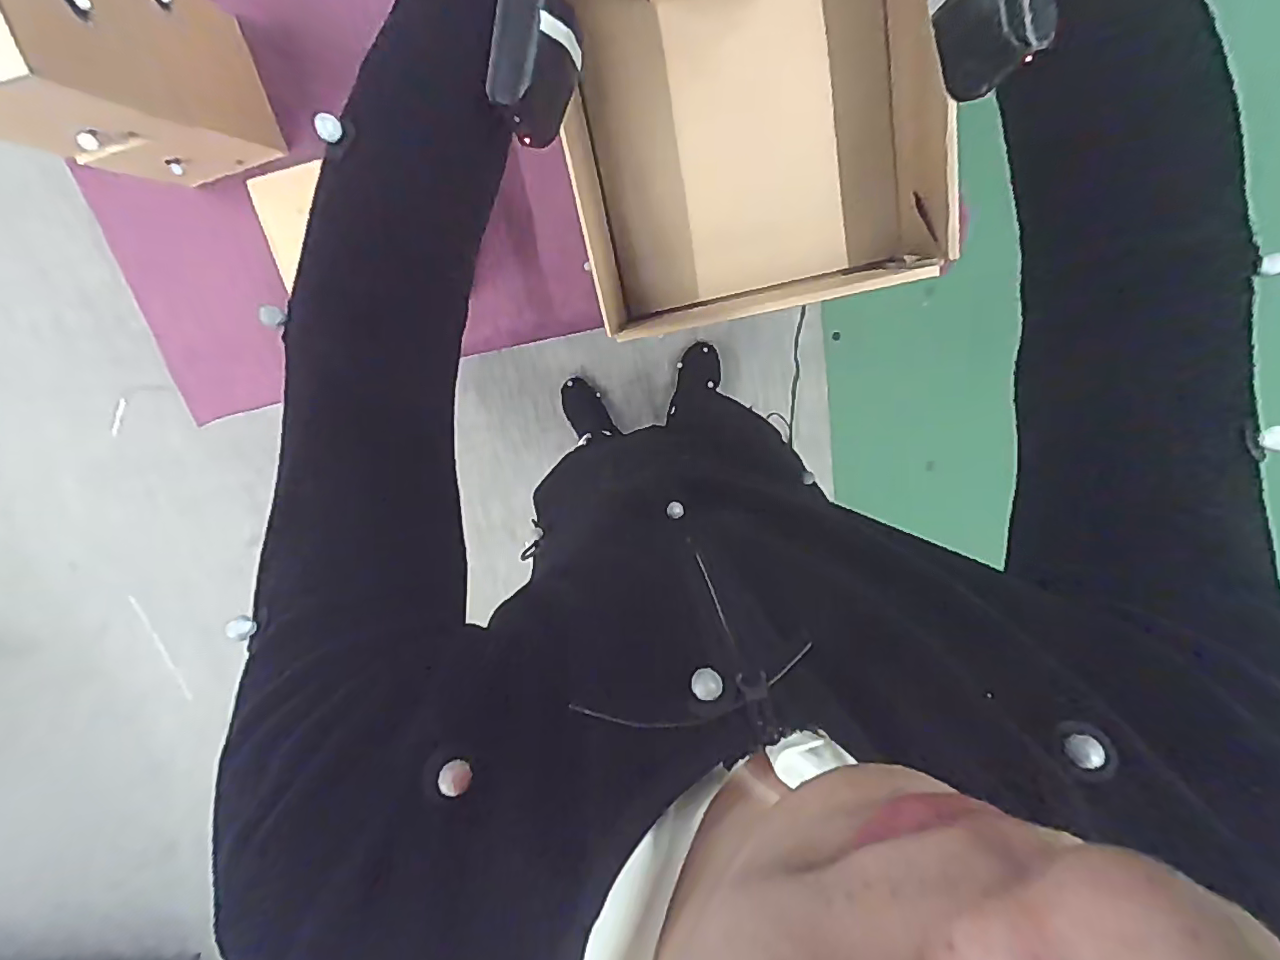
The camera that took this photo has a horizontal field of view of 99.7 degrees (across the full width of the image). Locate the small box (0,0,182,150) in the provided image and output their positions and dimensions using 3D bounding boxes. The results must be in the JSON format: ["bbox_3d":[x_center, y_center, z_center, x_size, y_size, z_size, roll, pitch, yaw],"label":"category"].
[{"bbox_3d":[-0.615,-0.452,0.525,0.168,0.176,0.179,-7,109,7],"label":"small box"}]

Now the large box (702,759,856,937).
[{"bbox_3d":[0.469,1.295,1.922,0.408,0.320,0.320,-42,102,15],"label":"large box"}]

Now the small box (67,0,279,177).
[{"bbox_3d":[-0.608,-0.502,0.682,0.168,0.176,0.179,-11,107,9],"label":"small box"}]
